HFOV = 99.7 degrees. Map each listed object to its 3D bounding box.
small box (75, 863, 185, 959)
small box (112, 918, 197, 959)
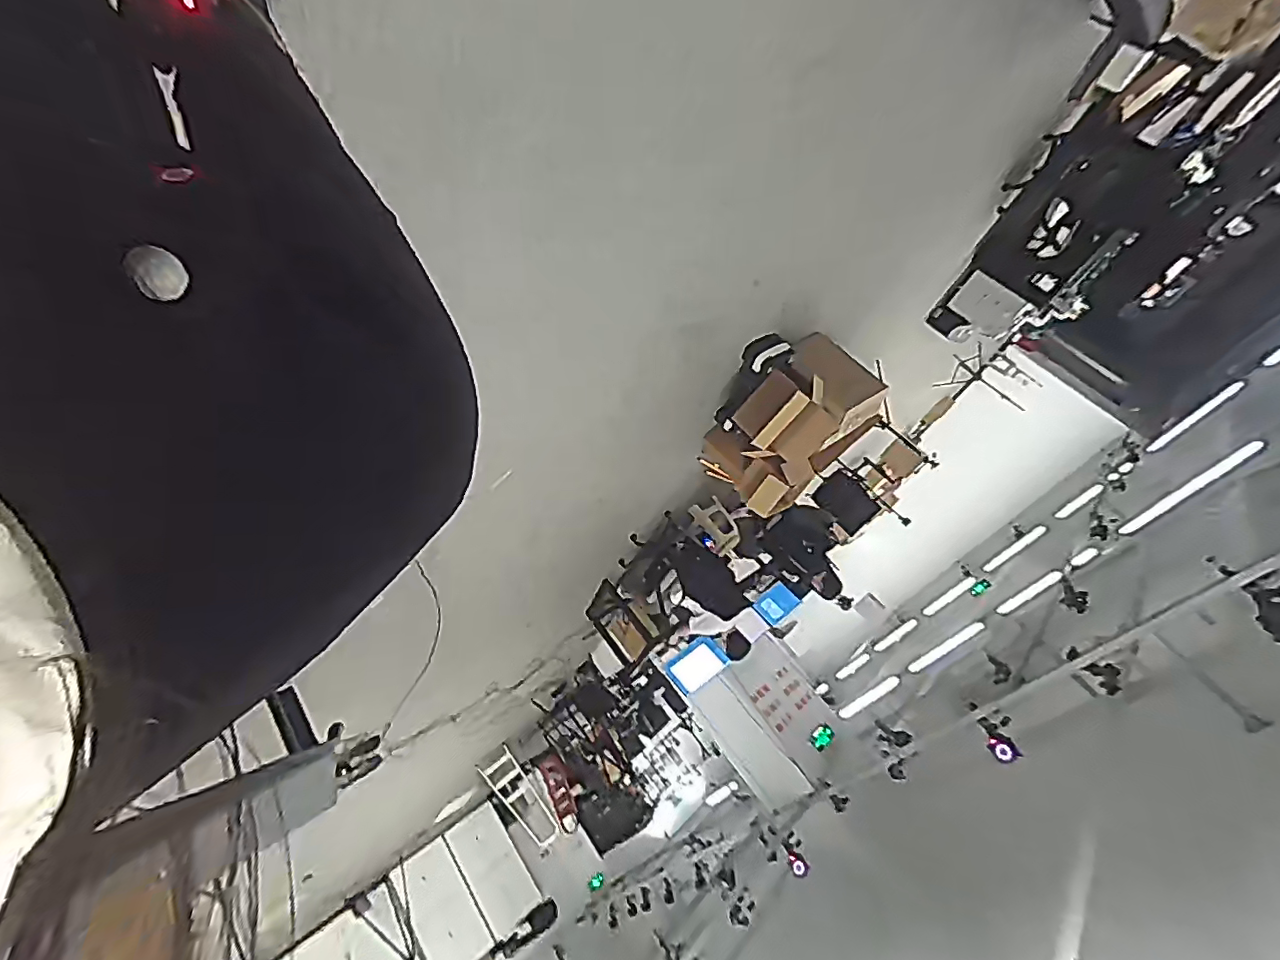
[{"bbox_3d":[-1.401,1.205,1.490,0.179,0.176,0.168,-20,149,-42],"label":"small box"},{"bbox_3d":[-1.300,1.322,1.433,0.179,0.176,0.168,-24,152,-42],"label":"small box"}]
